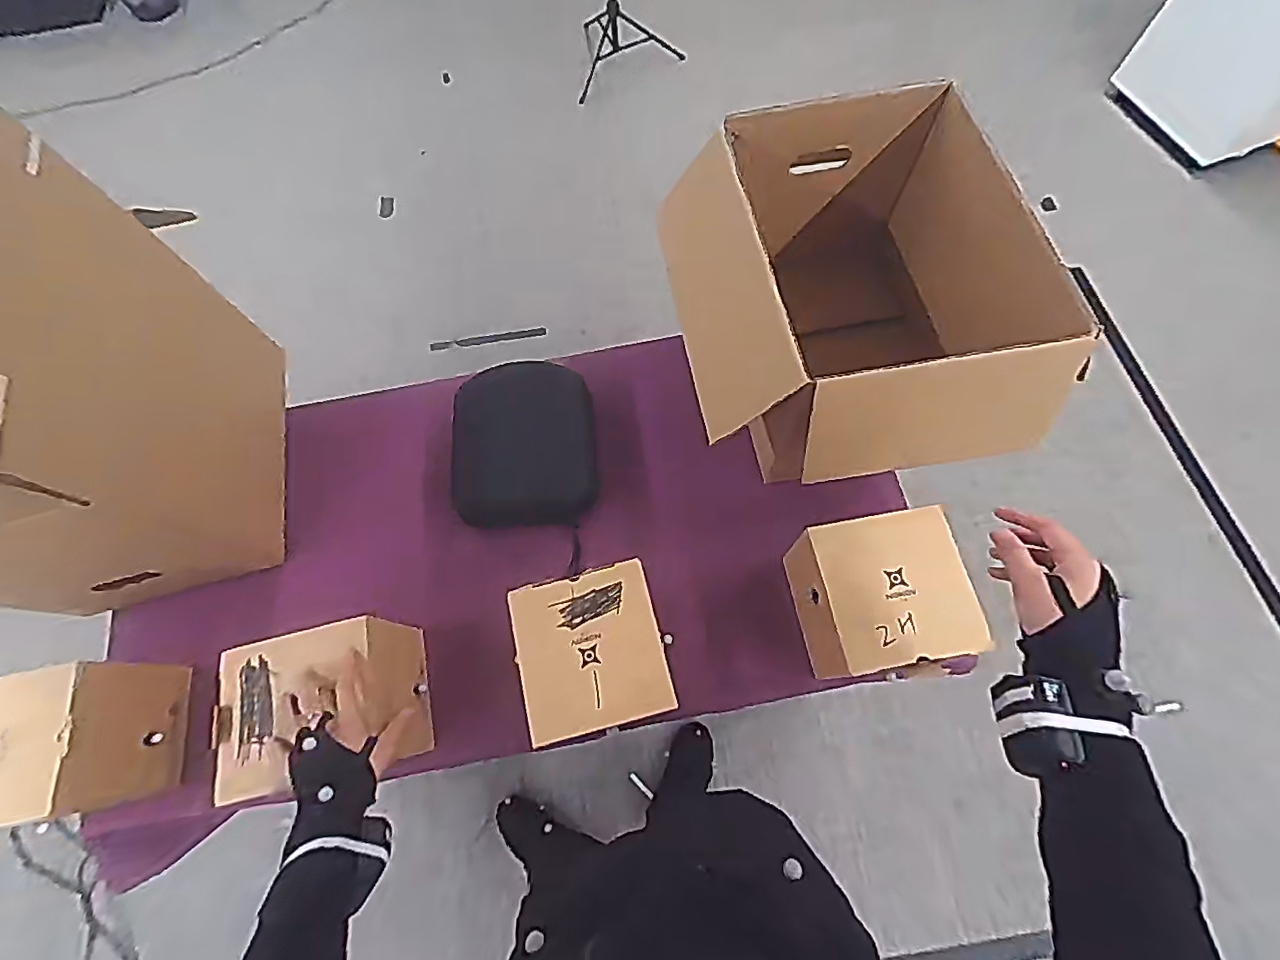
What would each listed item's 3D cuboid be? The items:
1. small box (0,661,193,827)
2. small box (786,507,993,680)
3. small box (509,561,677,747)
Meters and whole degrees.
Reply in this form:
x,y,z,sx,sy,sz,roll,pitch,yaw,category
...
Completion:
x,y,z,sx,sy,sz,roll,pitch,yaw,category
-0.729,0.335,0.687,0.179,0.176,0.168,-11,68,-2,small box
0.299,0.153,0.696,0.168,0.176,0.179,-10,68,1,small box
-0.055,0.222,0.692,0.168,0.176,0.179,-15,69,-2,small box
